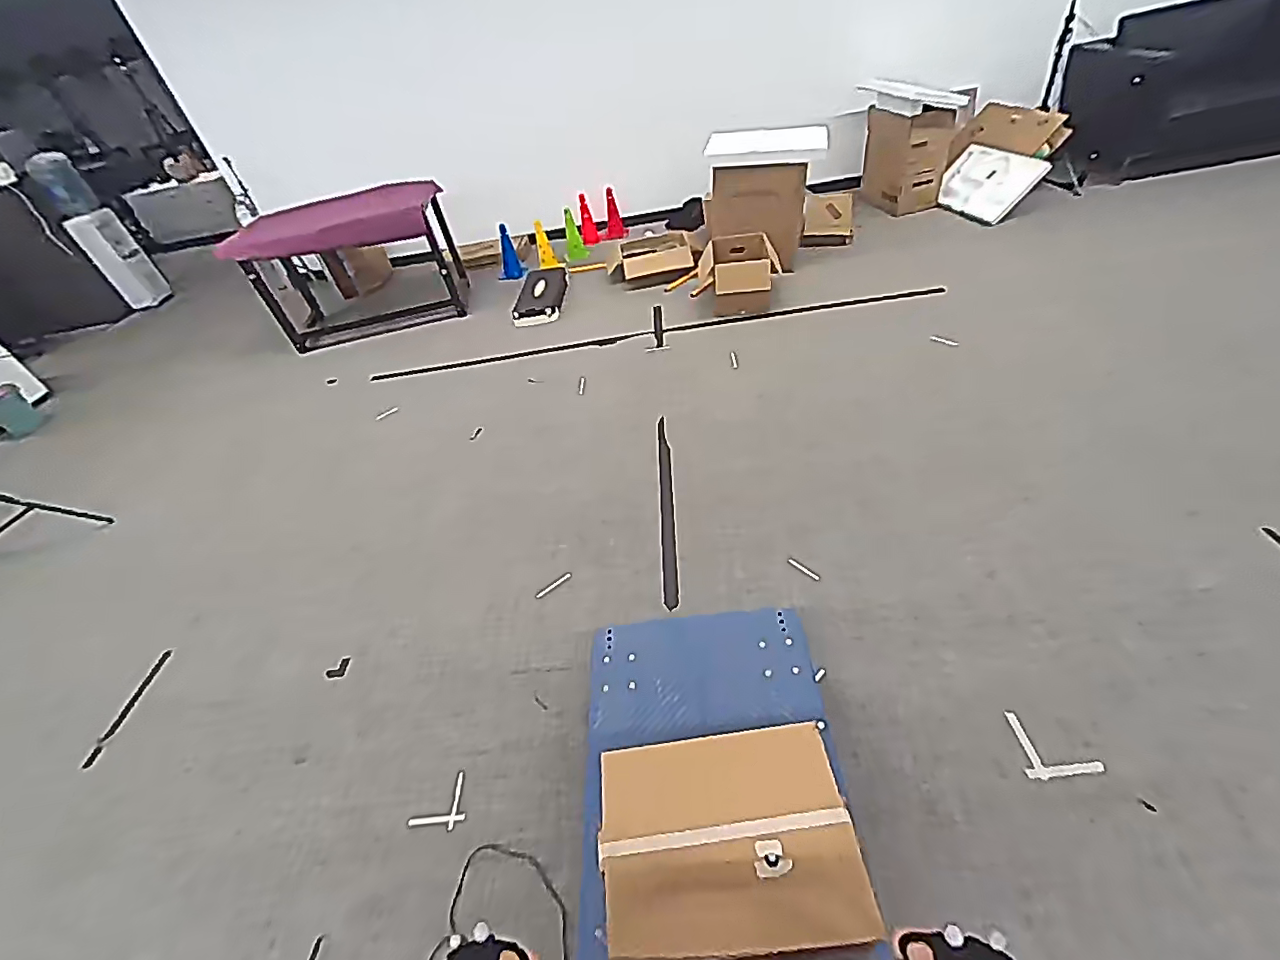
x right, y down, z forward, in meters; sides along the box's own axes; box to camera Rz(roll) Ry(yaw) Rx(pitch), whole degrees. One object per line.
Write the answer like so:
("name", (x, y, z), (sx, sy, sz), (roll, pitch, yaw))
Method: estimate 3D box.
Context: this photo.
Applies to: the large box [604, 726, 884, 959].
("large box", (0.161, 0.698, 0.986), (0.408, 0.320, 0.320), (-9, 42, 1))
